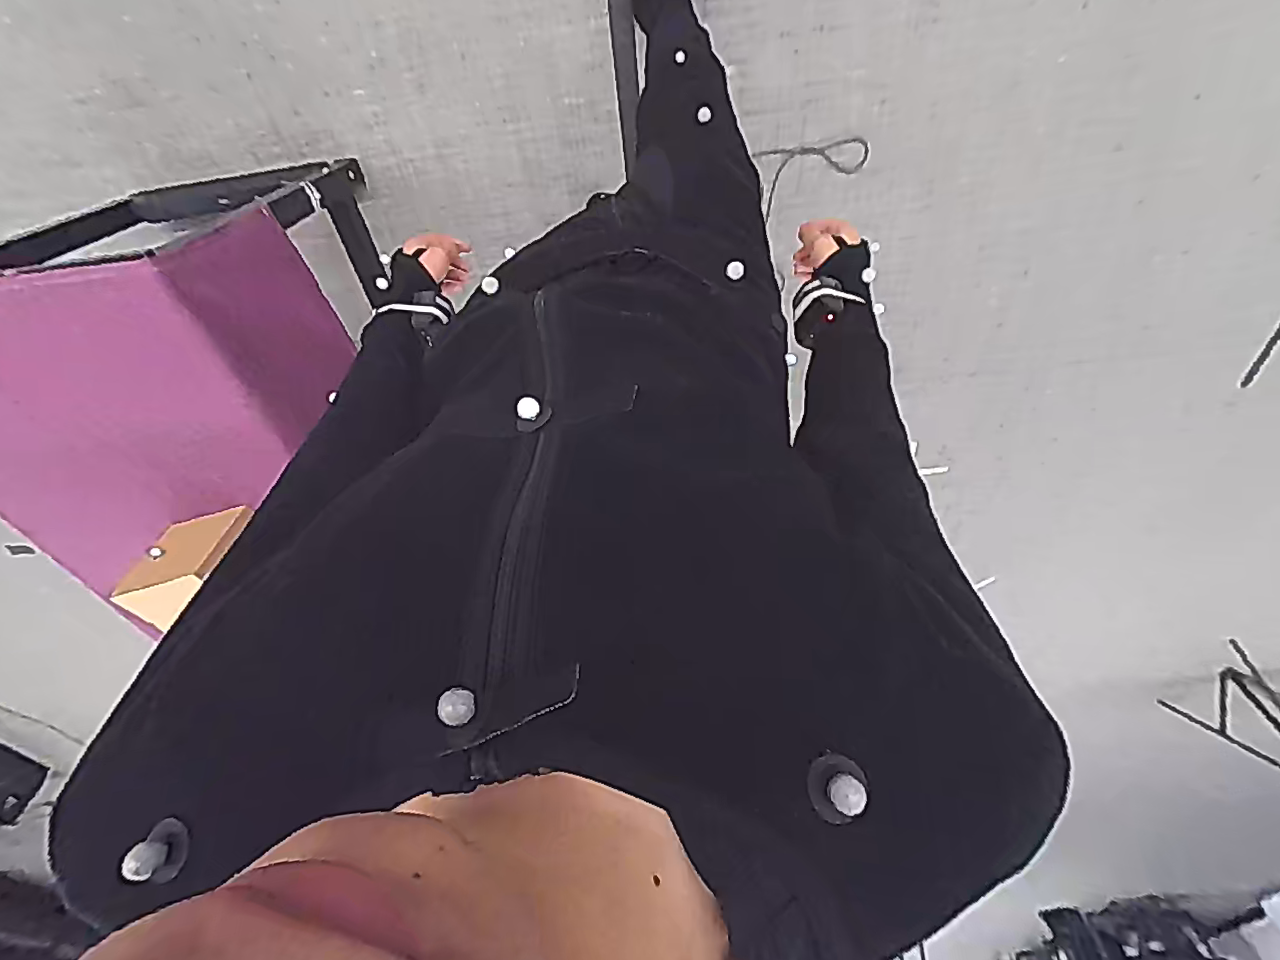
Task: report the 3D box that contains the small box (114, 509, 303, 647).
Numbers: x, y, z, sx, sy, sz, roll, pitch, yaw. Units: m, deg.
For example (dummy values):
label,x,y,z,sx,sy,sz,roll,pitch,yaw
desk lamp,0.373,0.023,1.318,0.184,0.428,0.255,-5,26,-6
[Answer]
label,x,y,z,sx,sy,sz,roll,pitch,yaw
small box,-0.774,0.179,0.994,0.179,0.176,0.168,-14,130,11
